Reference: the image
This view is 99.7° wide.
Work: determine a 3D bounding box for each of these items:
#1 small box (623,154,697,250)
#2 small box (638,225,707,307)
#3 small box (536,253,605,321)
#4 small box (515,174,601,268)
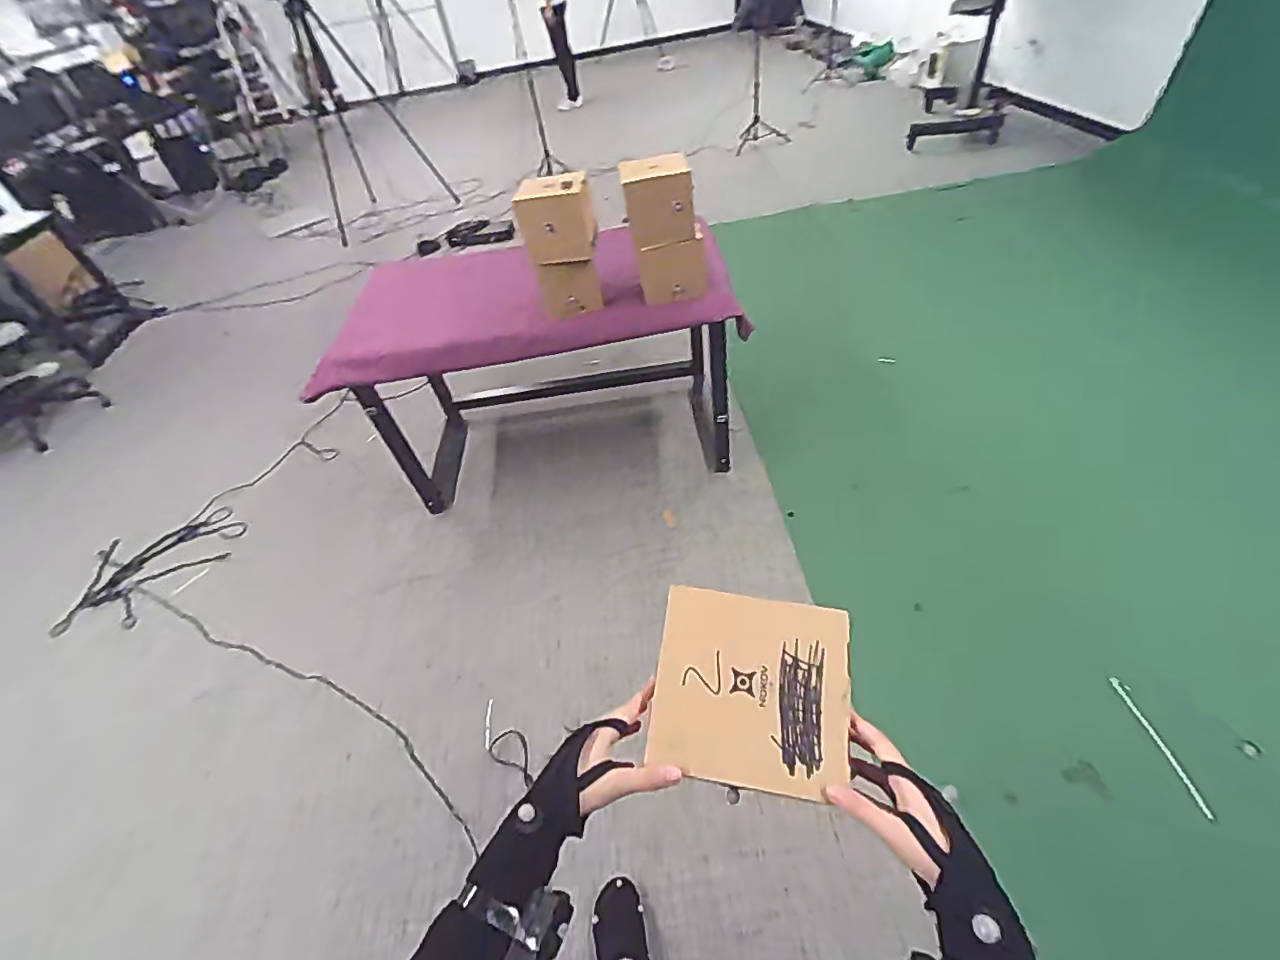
[{"bbox_3d":[0.056,-0.733,1.432,0.179,0.176,0.168,-8,46,5],"label":"small box"},{"bbox_3d":[0.091,-0.618,1.543,0.179,0.176,0.168,-12,45,0],"label":"small box"},{"bbox_3d":[-0.204,-0.588,1.573,0.168,0.176,0.179,-14,45,-2],"label":"small box"},{"bbox_3d":[-0.209,-0.687,1.439,0.179,0.176,0.168,-4,45,9],"label":"small box"}]
